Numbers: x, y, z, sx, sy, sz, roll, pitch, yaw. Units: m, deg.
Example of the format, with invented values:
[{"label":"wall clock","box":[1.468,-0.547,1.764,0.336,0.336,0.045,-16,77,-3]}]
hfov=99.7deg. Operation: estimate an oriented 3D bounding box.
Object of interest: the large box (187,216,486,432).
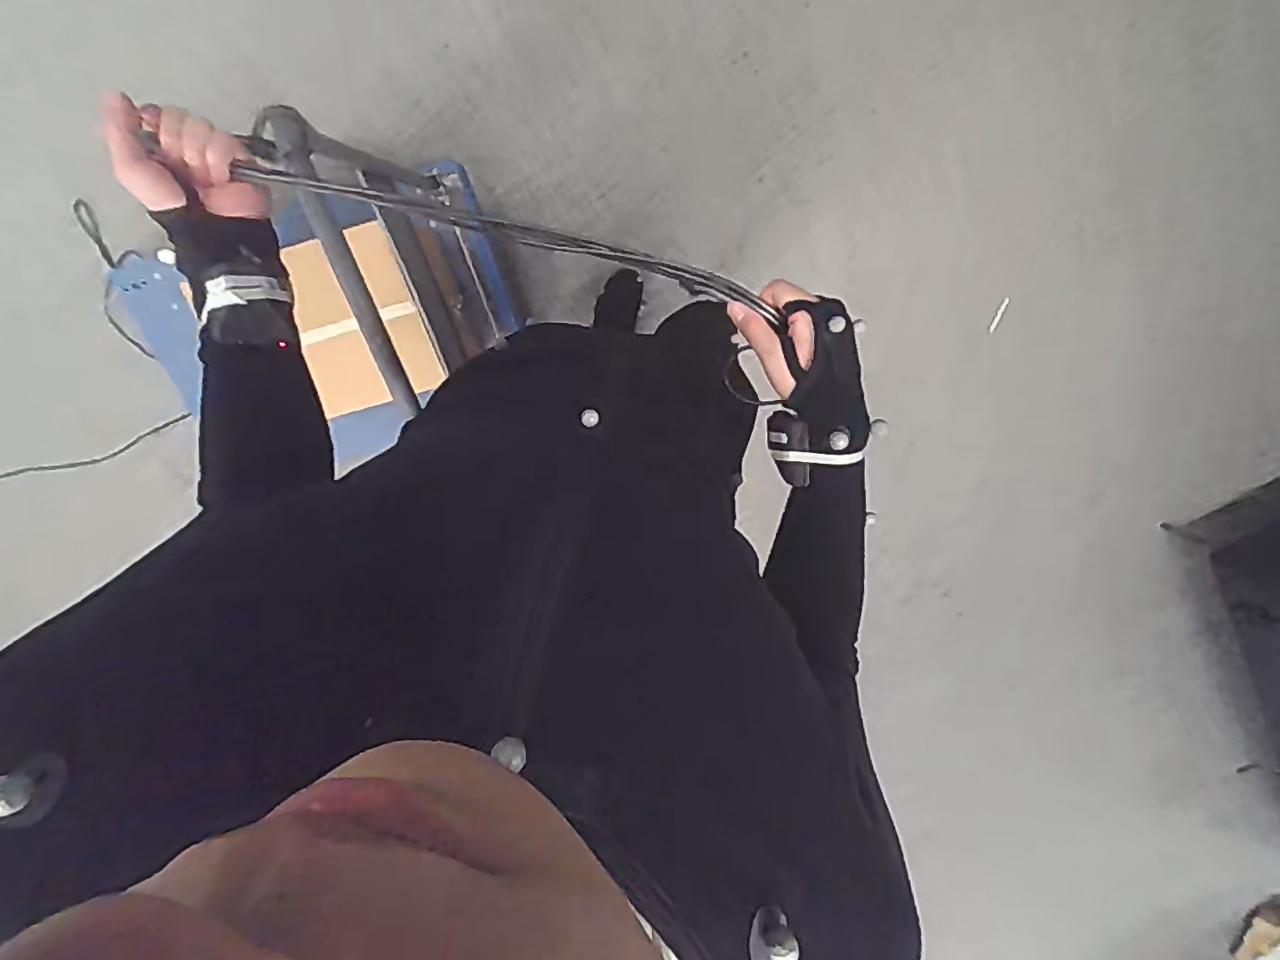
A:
[{"label":"large box","box":[-0.606,-0.342,1.167,0.408,0.320,0.320,-15,112,5]}]
